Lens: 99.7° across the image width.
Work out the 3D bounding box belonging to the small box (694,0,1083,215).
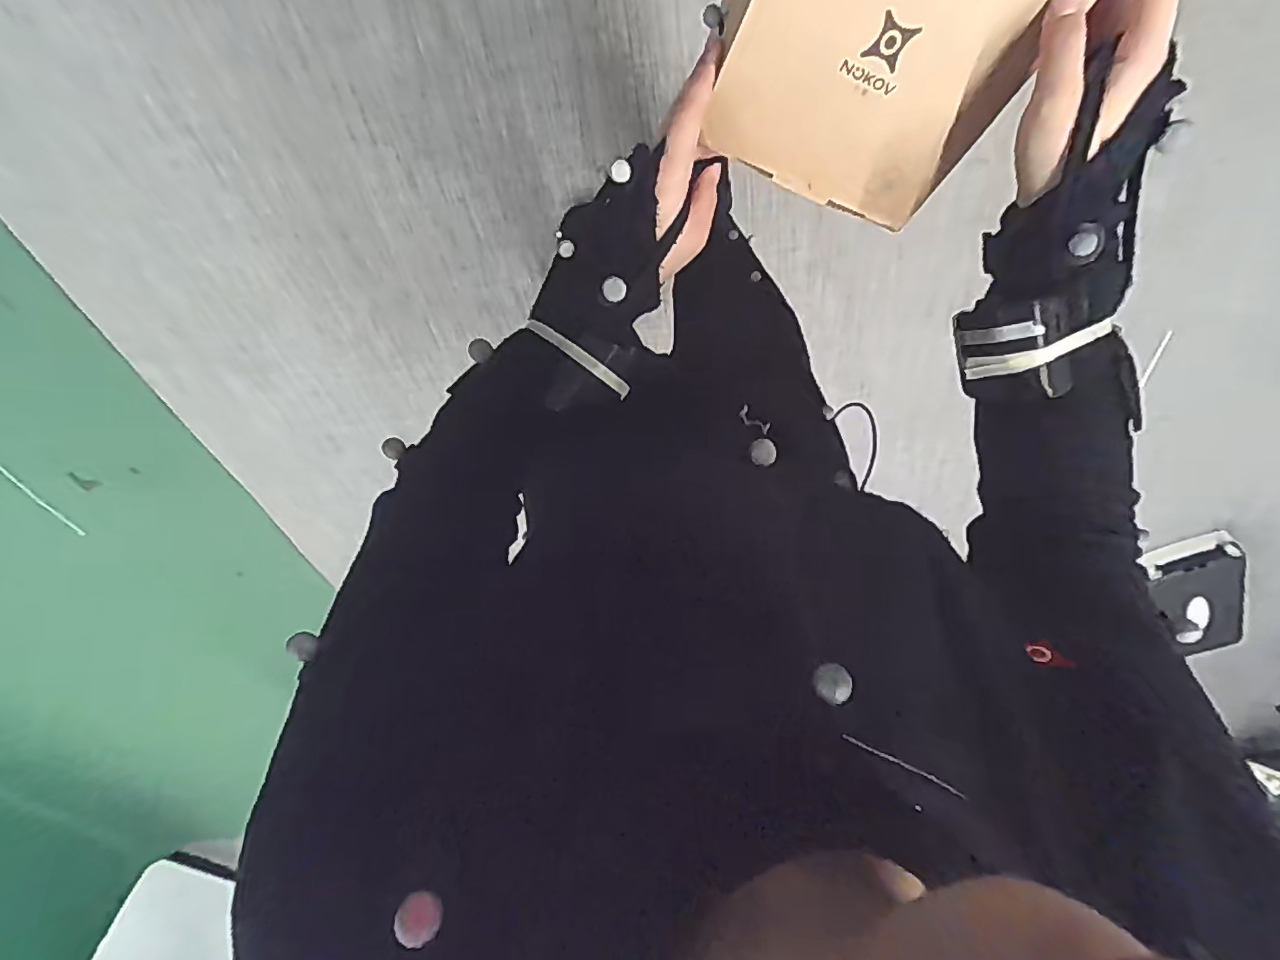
[{"bbox_3d":[0.148,-0.318,0.342,0.168,0.176,0.179,15,146,-13],"label":"small box"}]
